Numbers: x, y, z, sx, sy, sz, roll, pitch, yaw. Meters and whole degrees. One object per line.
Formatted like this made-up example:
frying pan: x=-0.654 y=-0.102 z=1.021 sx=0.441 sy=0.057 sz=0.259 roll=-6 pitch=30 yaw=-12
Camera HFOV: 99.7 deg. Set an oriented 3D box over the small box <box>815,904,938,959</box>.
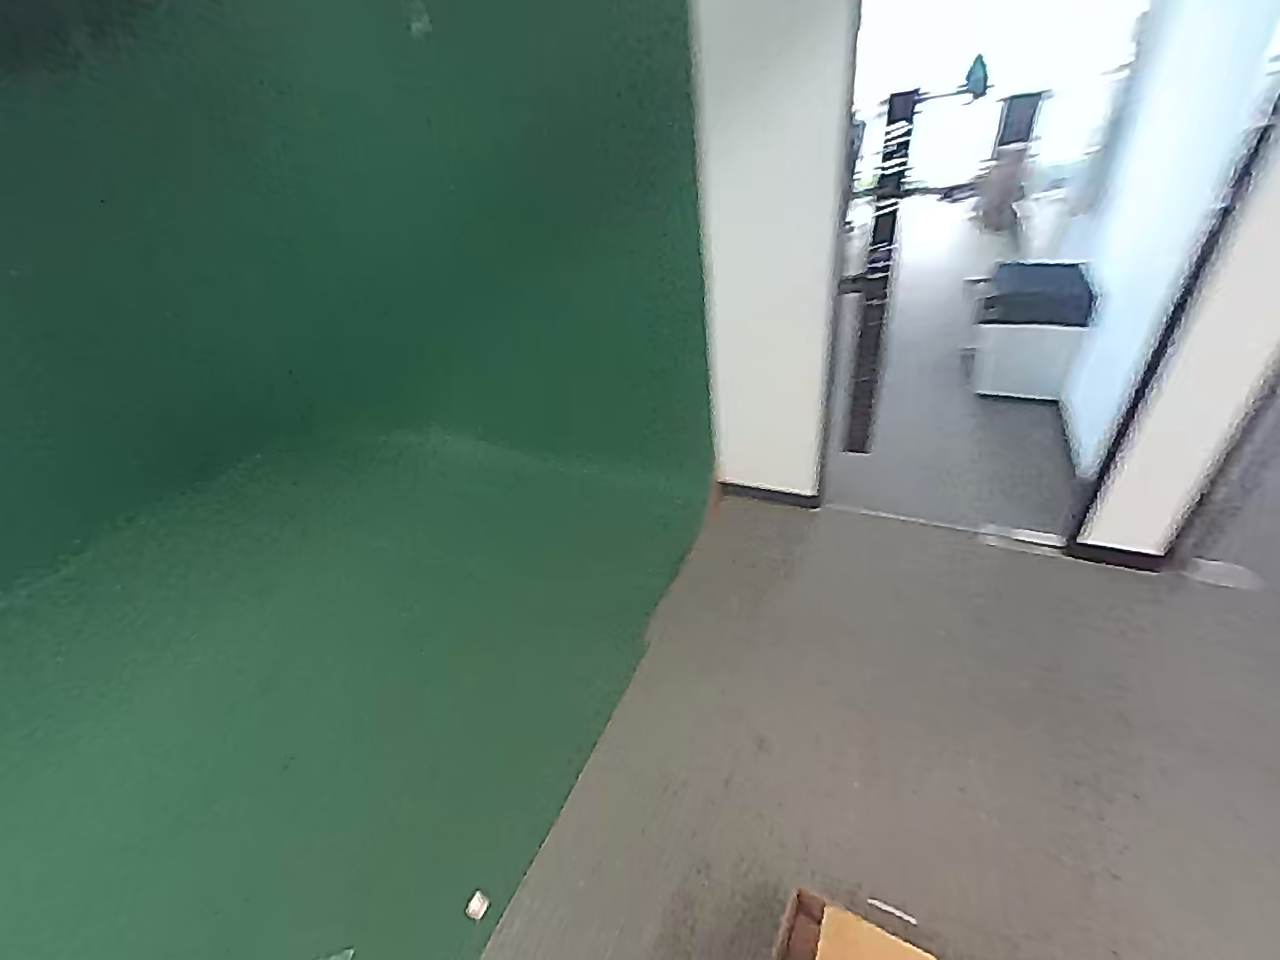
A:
small box: x=0.354 y=0.826 z=0.845 sx=0.168 sy=0.176 sz=0.179 roll=12 pitch=41 yaw=26
